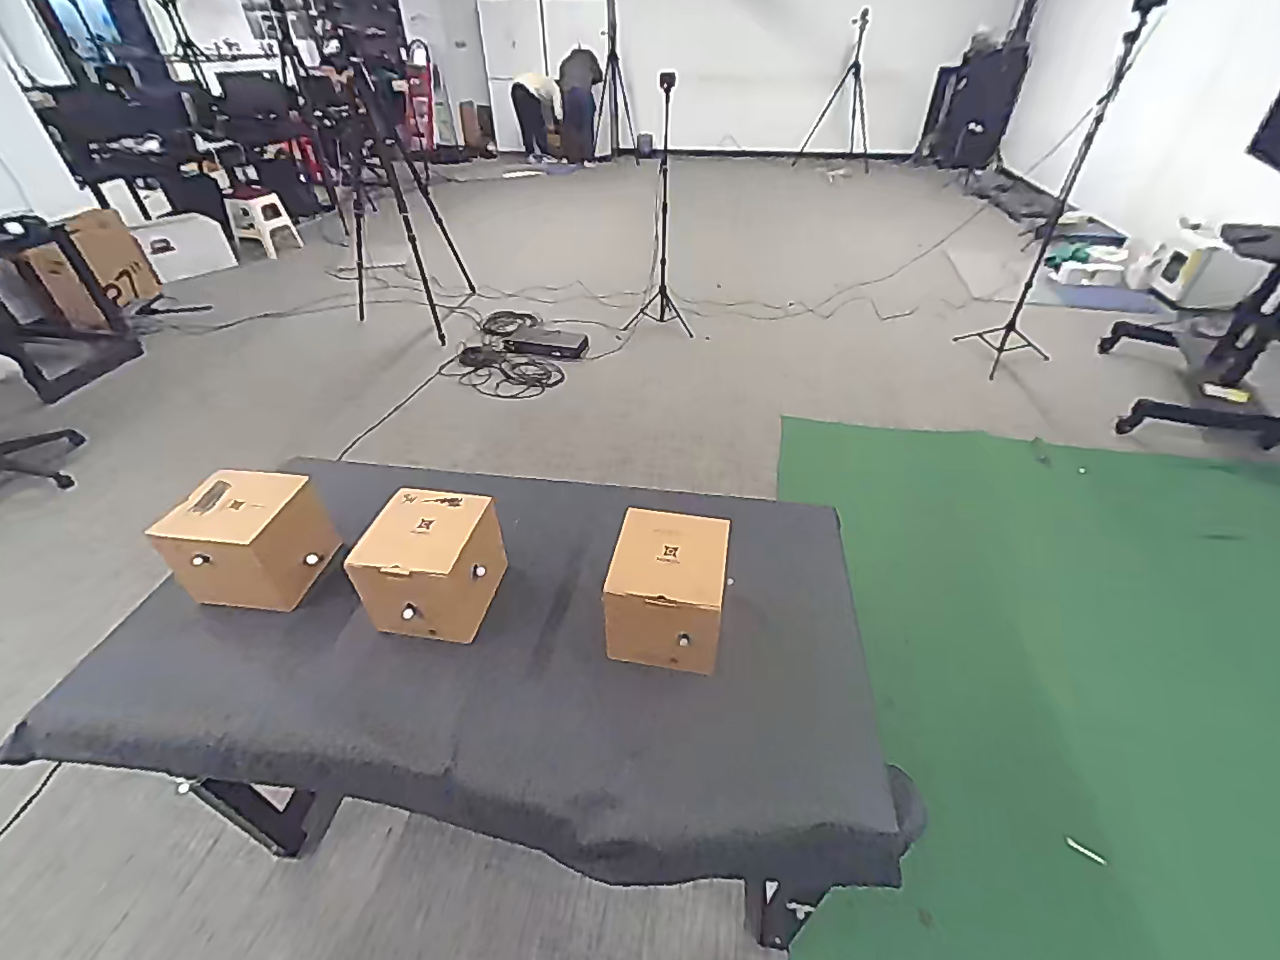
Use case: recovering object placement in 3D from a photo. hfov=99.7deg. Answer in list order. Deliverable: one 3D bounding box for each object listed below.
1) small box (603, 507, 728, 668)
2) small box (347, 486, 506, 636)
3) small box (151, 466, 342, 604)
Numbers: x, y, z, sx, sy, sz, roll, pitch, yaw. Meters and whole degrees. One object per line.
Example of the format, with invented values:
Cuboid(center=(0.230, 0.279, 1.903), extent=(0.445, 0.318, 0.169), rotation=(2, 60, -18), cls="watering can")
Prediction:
Cuboid(center=(0.044, 0.170, 0.851), extent=(0.168, 0.176, 0.179), rotation=(7, 39, 7), cls="small box")
Cuboid(center=(-0.335, 0.134, 0.893), extent=(0.168, 0.176, 0.179), rotation=(6, 41, 7), cls="small box")
Cuboid(center=(-0.661, 0.096, 0.936), extent=(0.179, 0.176, 0.168), rotation=(5, 40, 4), cls="small box")
